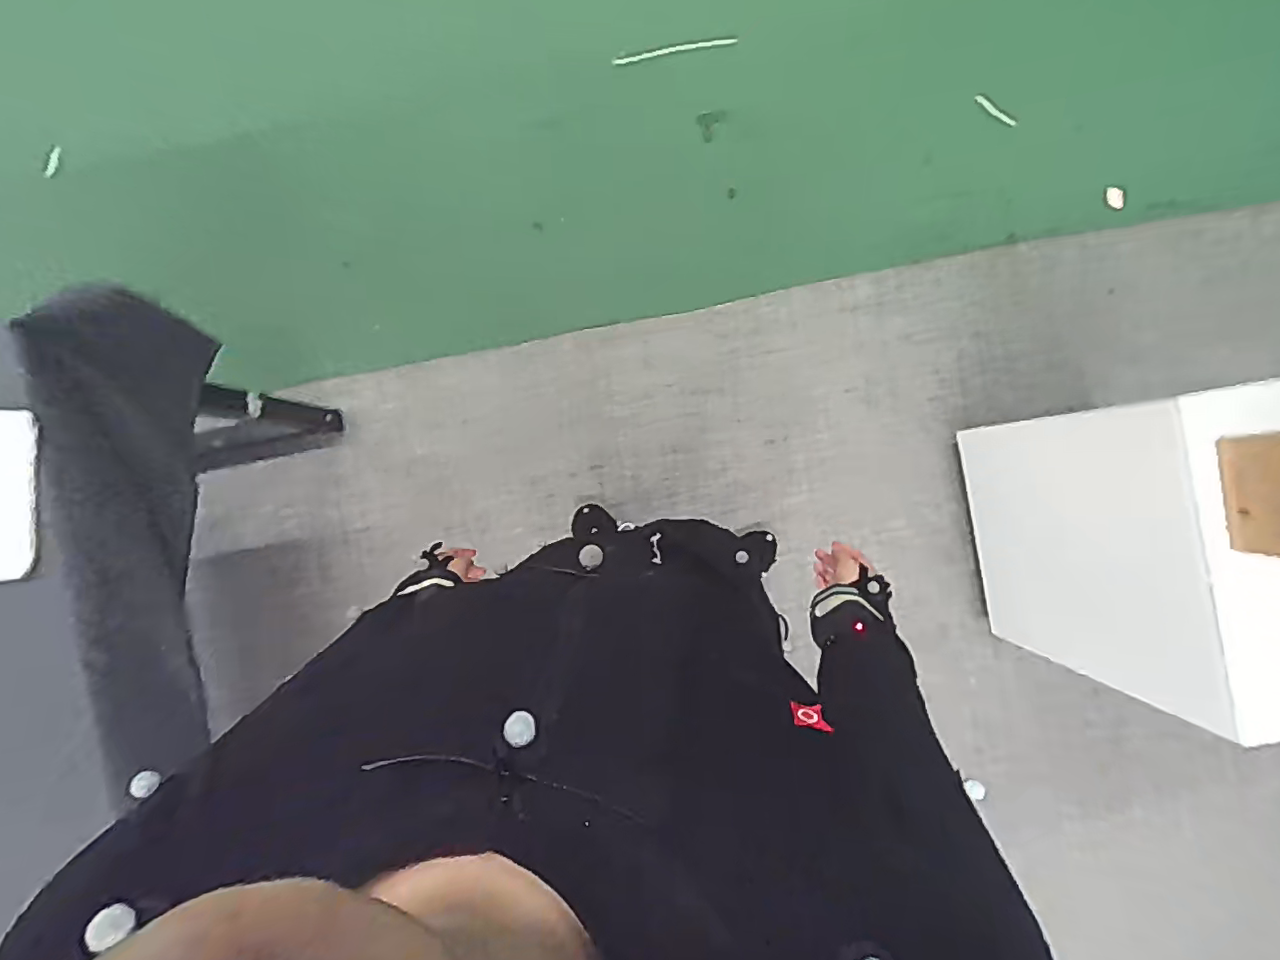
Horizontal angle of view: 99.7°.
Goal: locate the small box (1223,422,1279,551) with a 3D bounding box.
[{"bbox_3d":[0.906,0.003,0.687,0.179,0.176,0.168,-9,91,-1],"label":"small box"}]
